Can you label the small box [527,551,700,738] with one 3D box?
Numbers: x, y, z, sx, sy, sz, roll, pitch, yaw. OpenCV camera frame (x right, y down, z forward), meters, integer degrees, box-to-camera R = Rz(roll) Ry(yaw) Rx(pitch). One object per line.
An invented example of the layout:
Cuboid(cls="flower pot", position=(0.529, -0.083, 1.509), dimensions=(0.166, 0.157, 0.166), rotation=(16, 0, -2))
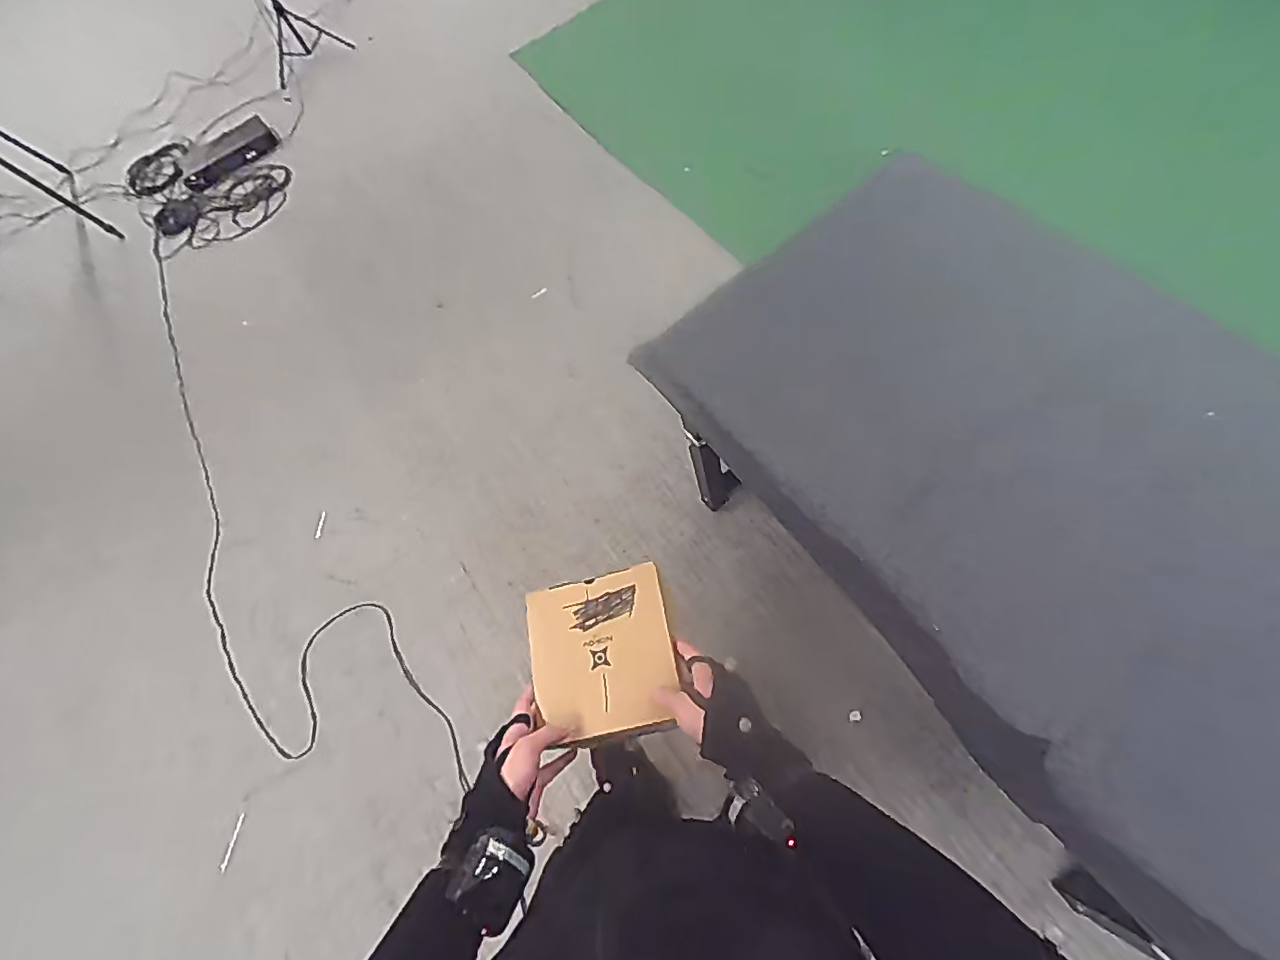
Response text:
Cuboid(cls="small box", position=(-0.029, 0.211, 0.672), dimensions=(0.168, 0.176, 0.179), rotation=(-15, 62, 6))
